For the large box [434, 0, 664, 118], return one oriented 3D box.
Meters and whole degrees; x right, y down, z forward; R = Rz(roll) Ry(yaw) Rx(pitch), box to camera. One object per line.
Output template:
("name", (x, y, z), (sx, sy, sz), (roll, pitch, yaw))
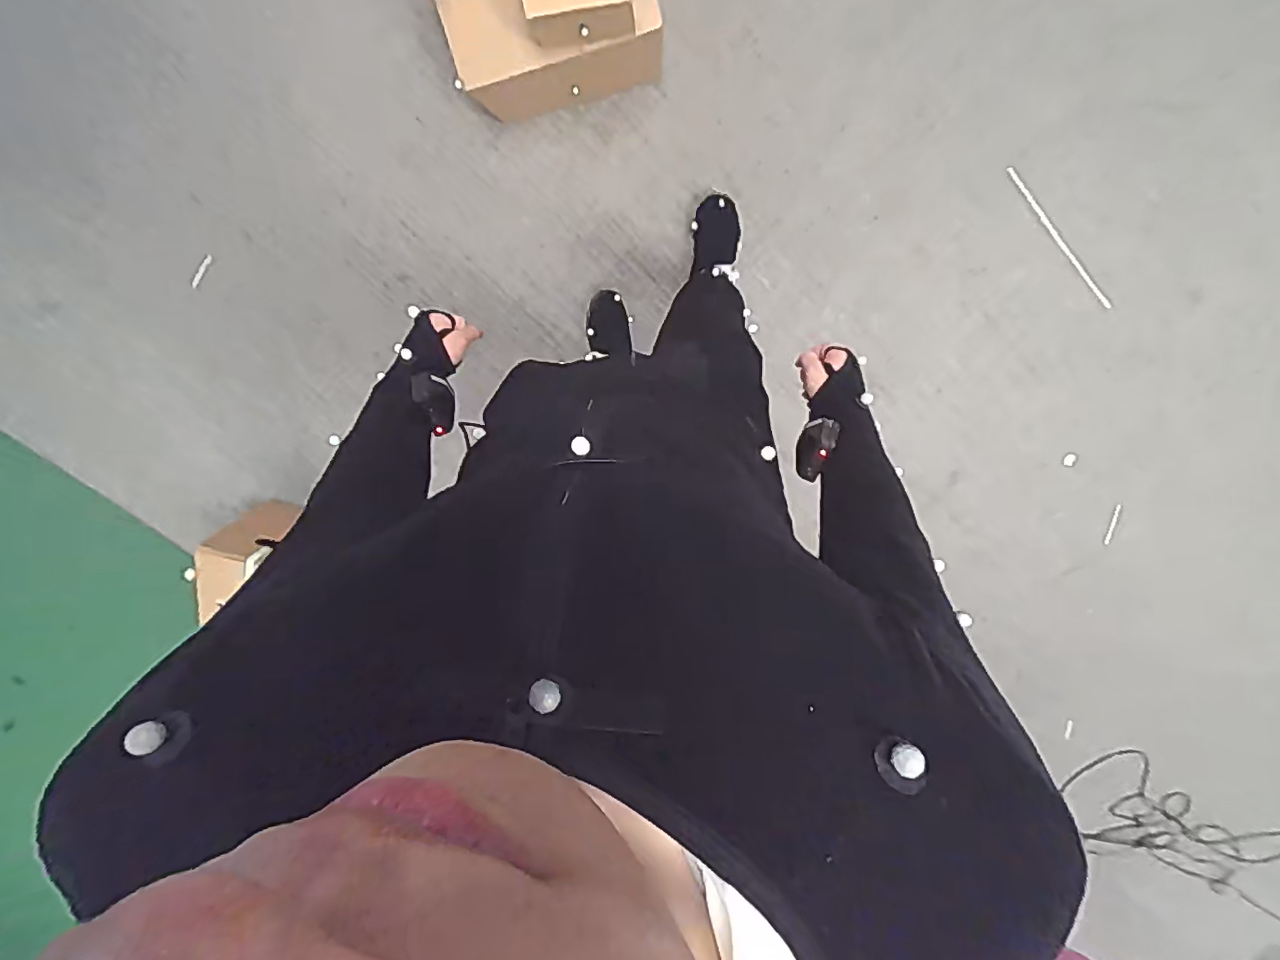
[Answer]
("large box", (-0.181, -0.991, 1.092), (0.408, 0.320, 0.320), (-12, 112, 8))
